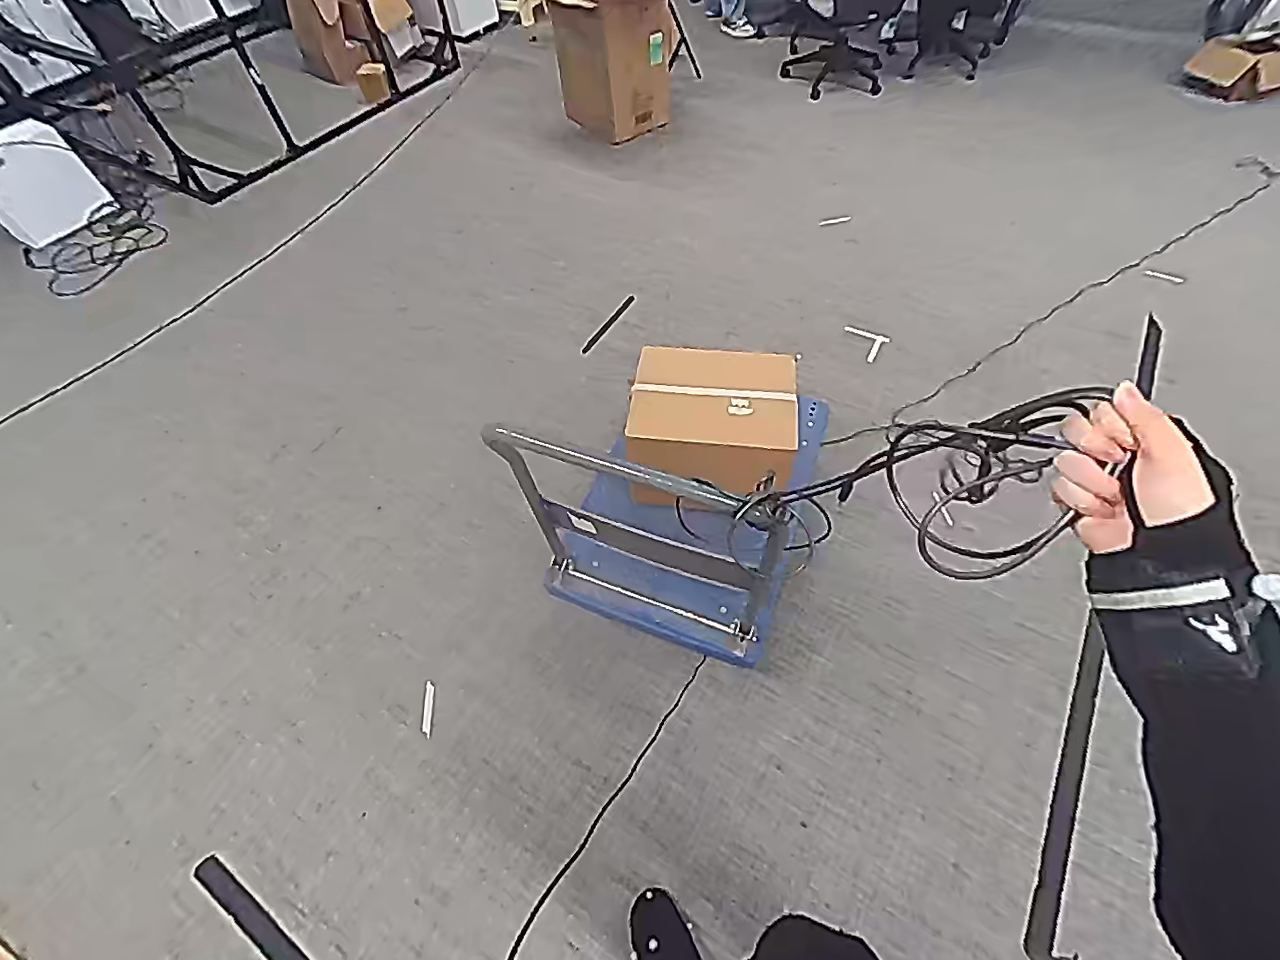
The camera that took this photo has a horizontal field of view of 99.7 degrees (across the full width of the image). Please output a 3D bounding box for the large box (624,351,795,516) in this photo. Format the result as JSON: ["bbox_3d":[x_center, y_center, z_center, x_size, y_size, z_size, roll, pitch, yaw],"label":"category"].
[{"bbox_3d":[0.180,-0.120,1.457,0.408,0.320,0.320,5,57,6],"label":"large box"}]
